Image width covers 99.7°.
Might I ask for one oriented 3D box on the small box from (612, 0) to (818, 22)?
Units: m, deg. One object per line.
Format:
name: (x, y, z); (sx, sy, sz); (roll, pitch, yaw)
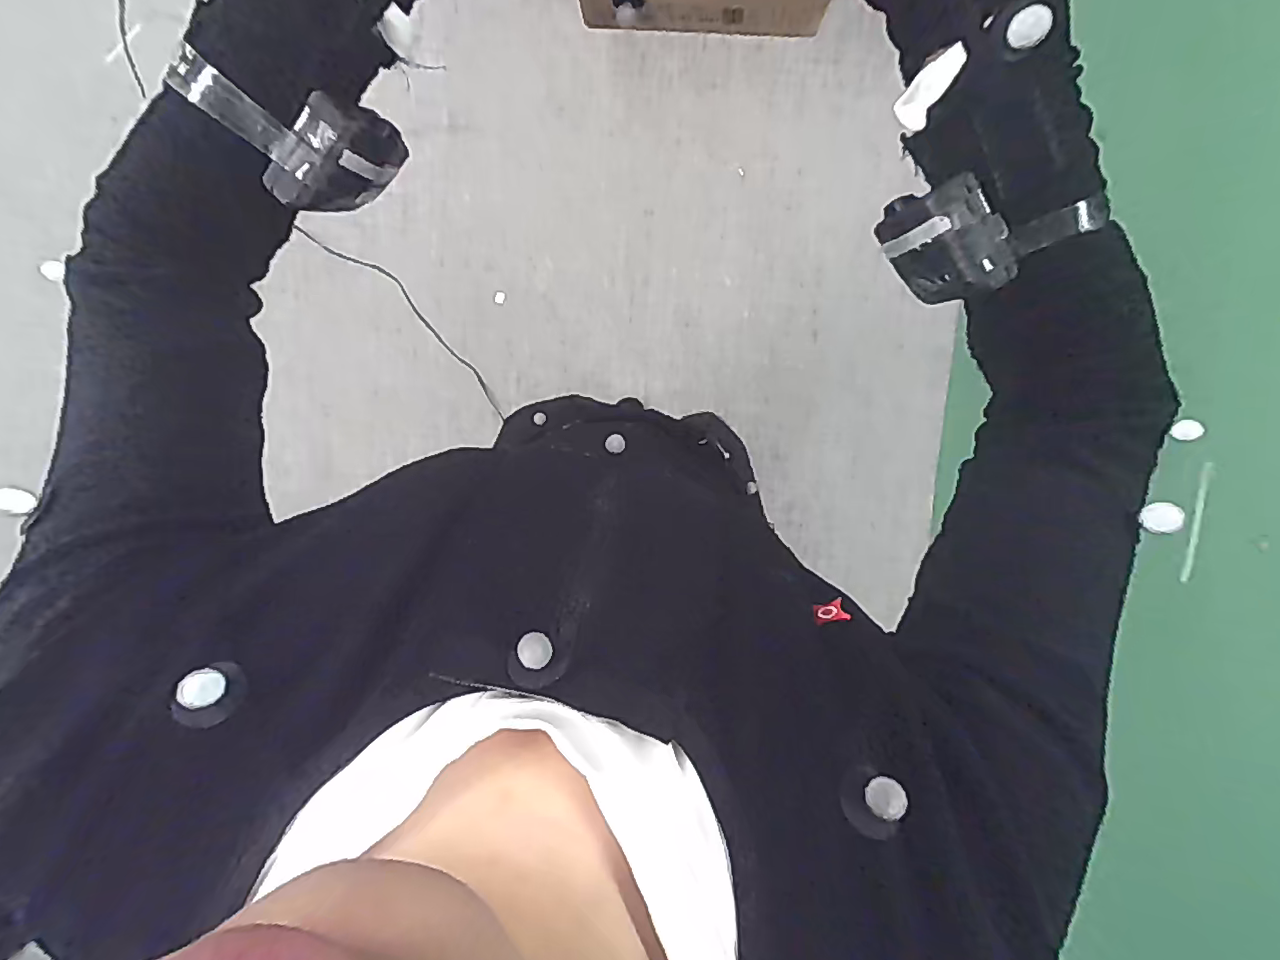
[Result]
small box: (0.044, -0.396, 0.290); (0.168, 0.176, 0.179); (4, 98, 1)
